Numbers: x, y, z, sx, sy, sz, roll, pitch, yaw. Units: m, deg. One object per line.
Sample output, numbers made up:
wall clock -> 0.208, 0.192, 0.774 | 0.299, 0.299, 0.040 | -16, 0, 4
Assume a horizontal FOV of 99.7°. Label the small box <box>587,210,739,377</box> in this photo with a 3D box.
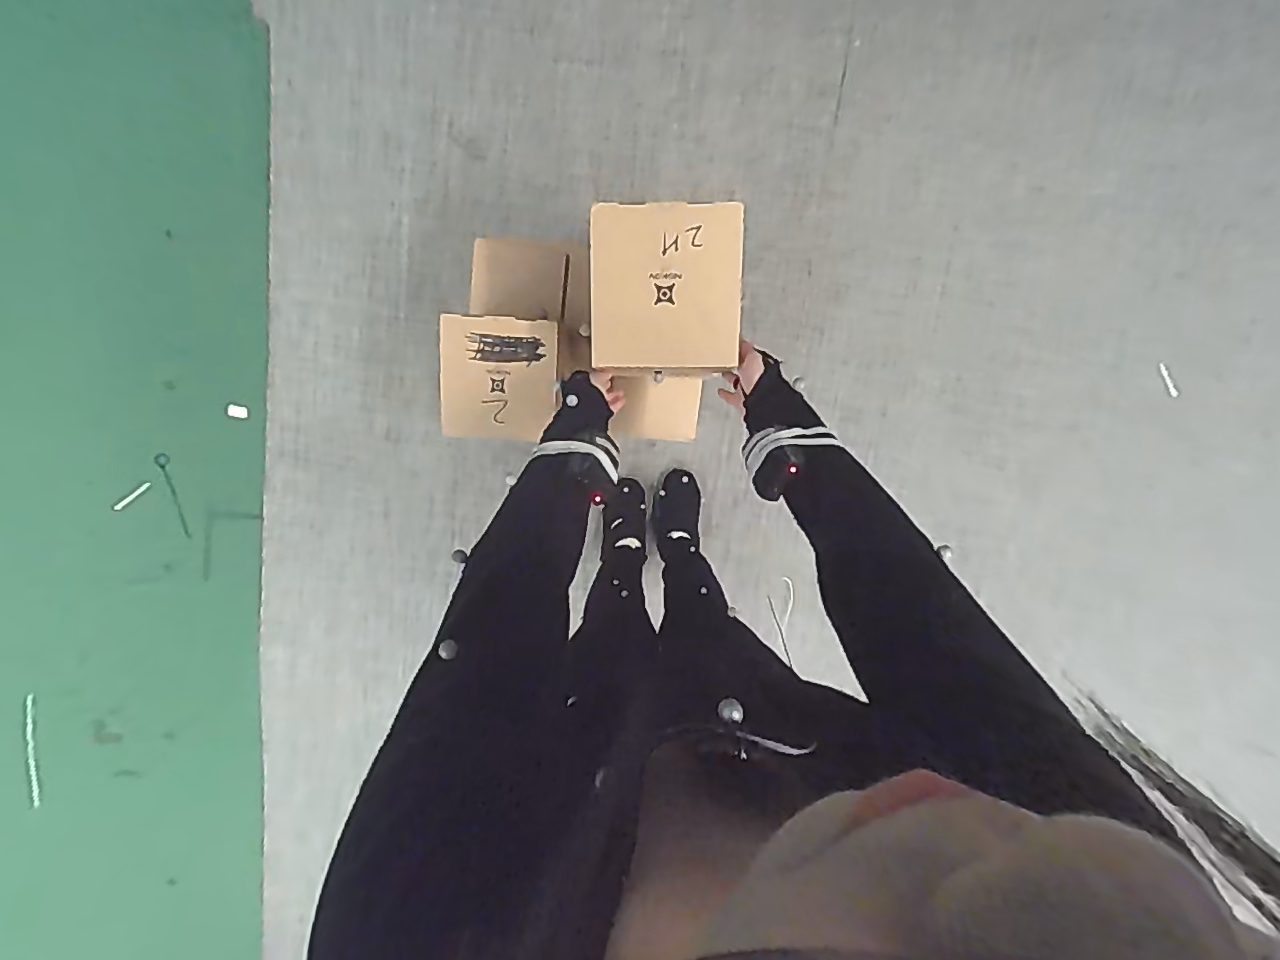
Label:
small box -> 0.026, -0.220, 0.681 | 0.168, 0.176, 0.179 | 1, 99, 1
